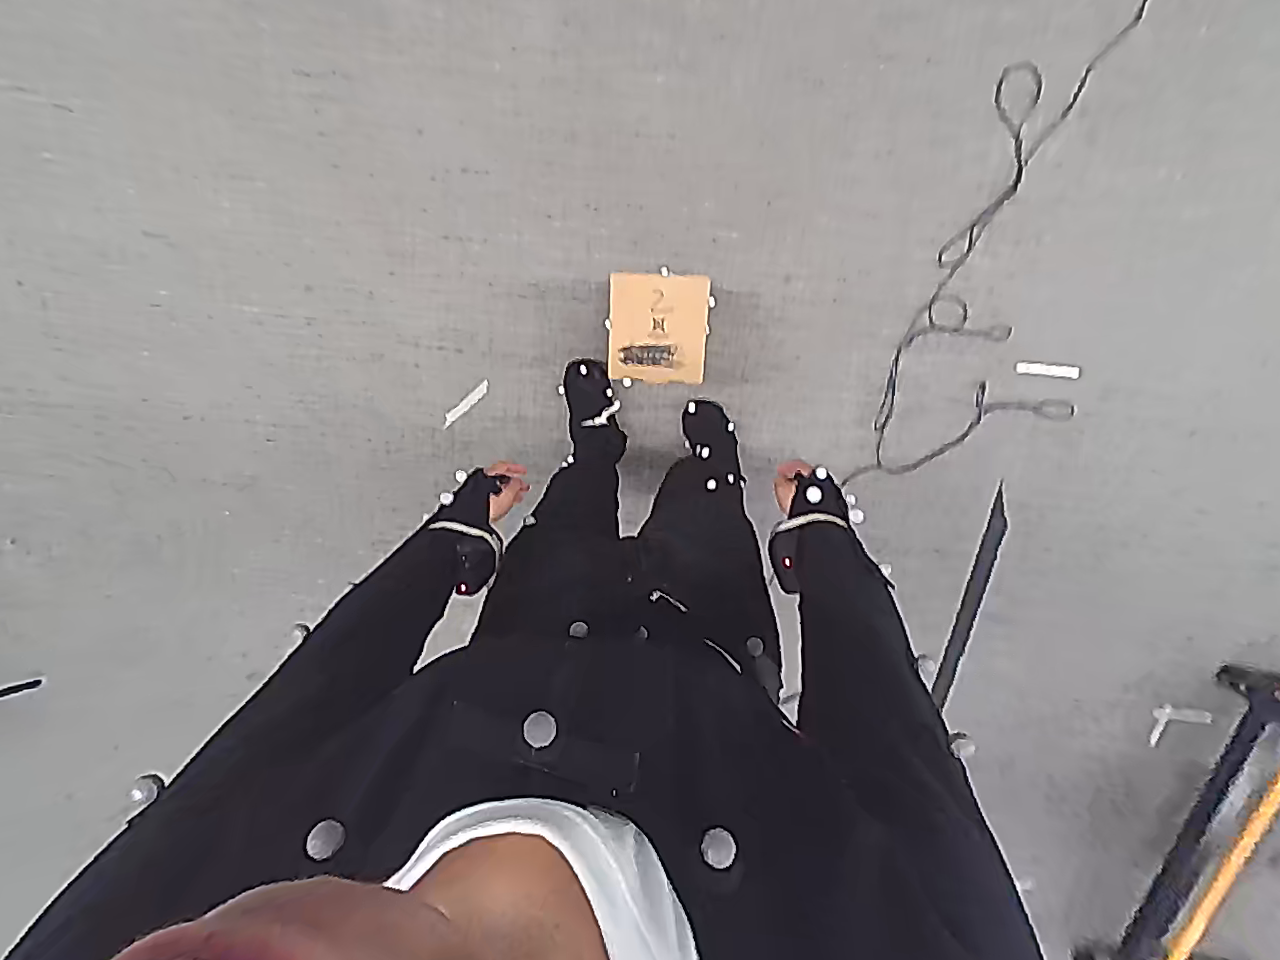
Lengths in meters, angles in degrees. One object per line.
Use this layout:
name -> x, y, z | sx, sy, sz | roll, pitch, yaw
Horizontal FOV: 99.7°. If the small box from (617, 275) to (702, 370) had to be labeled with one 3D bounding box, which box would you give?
small box -> 0.042, -0.329, 1.131 | 0.168, 0.176, 0.179 | -1, 109, 4
